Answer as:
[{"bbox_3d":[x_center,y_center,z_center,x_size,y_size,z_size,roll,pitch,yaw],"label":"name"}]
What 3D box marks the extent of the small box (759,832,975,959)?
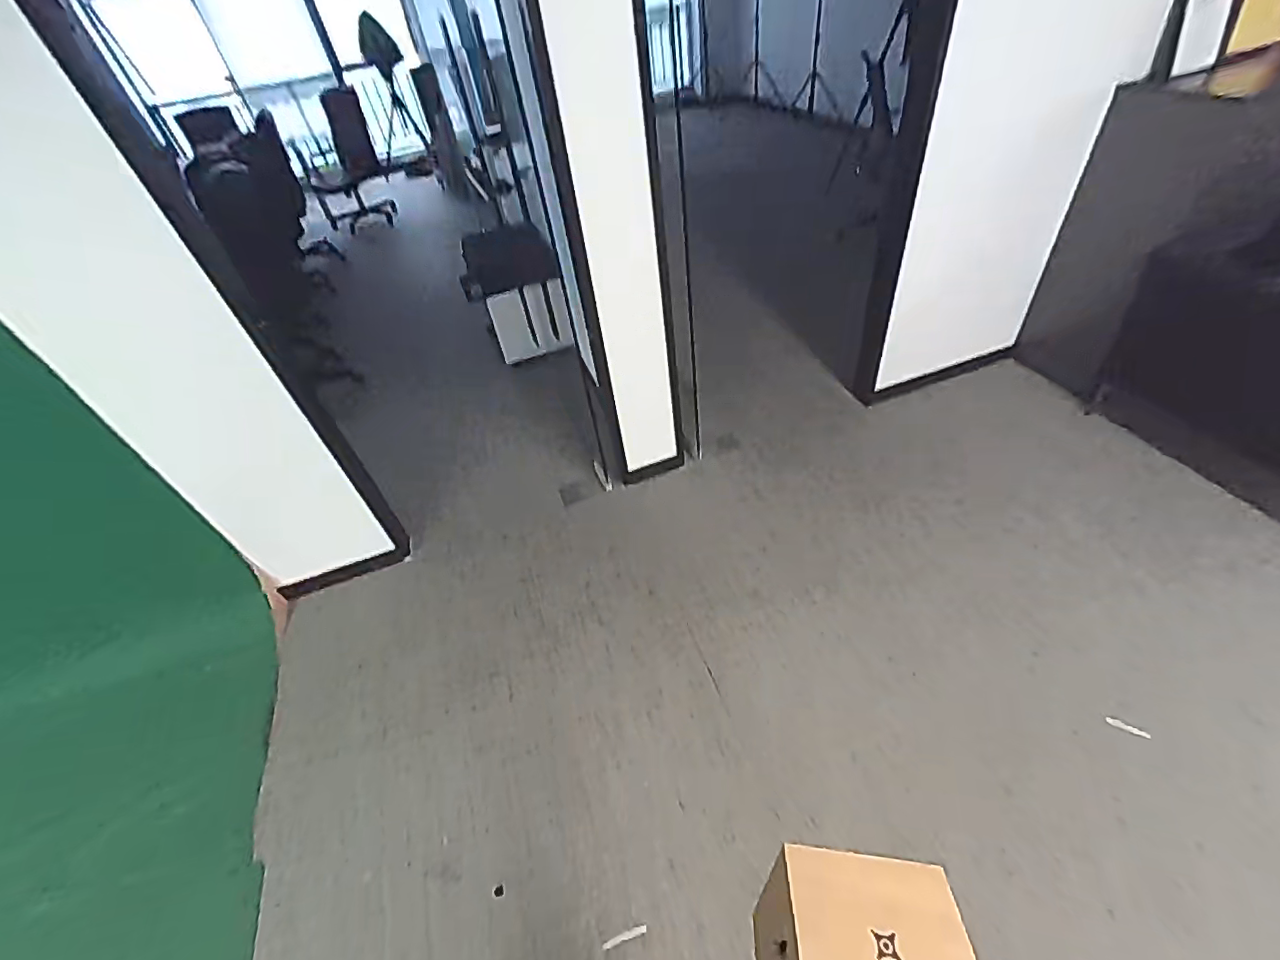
[{"bbox_3d":[0.208,0.488,0.521,0.168,0.176,0.179,9,34,9],"label":"small box"}]
